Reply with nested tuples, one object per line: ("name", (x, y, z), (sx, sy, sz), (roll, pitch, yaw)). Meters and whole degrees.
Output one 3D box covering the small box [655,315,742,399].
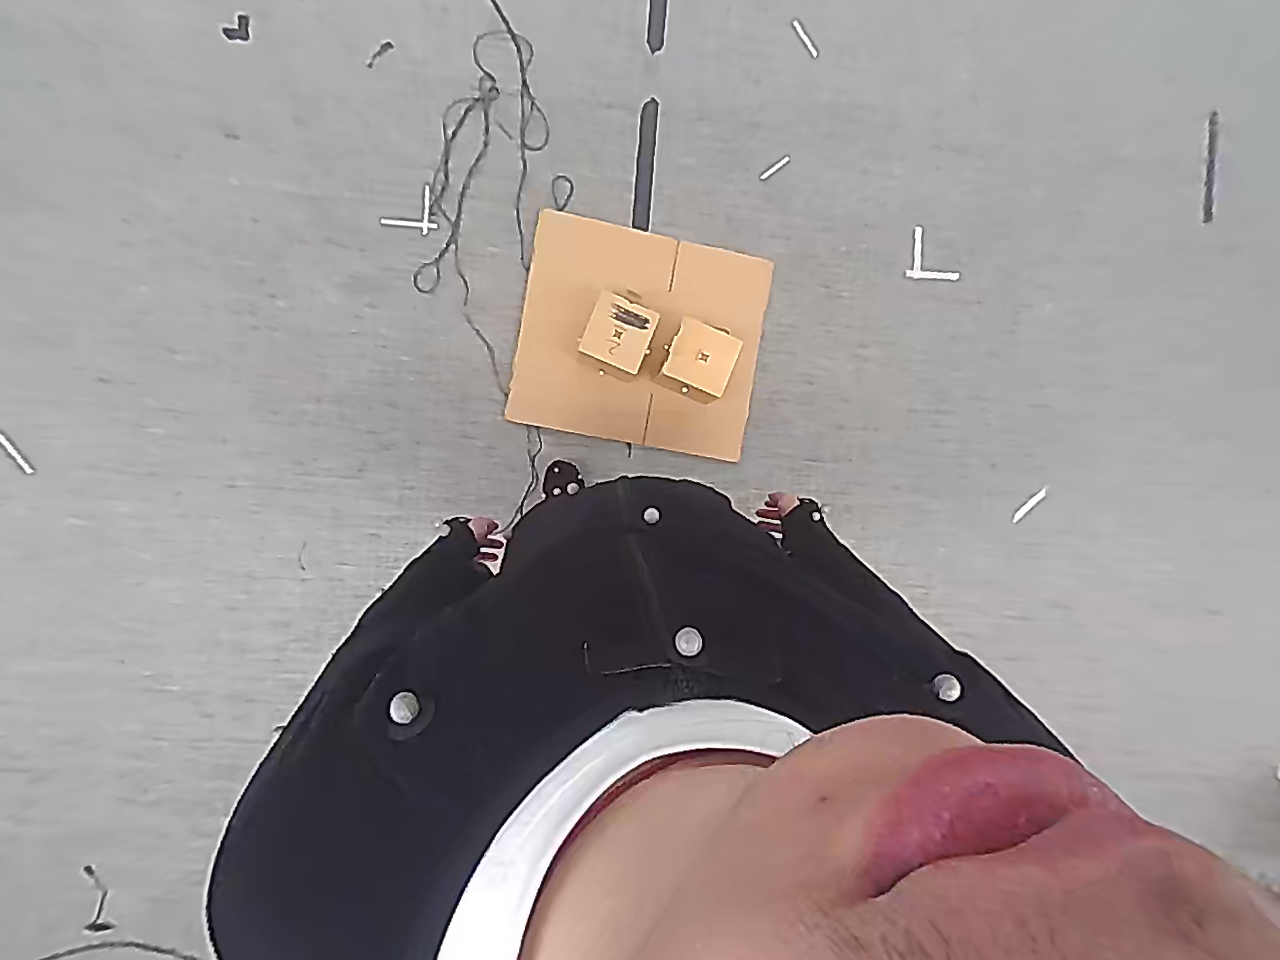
("small box", (0.158, -0.336, 1.519), (0.179, 0.176, 0.168), (22, 89, -5))
